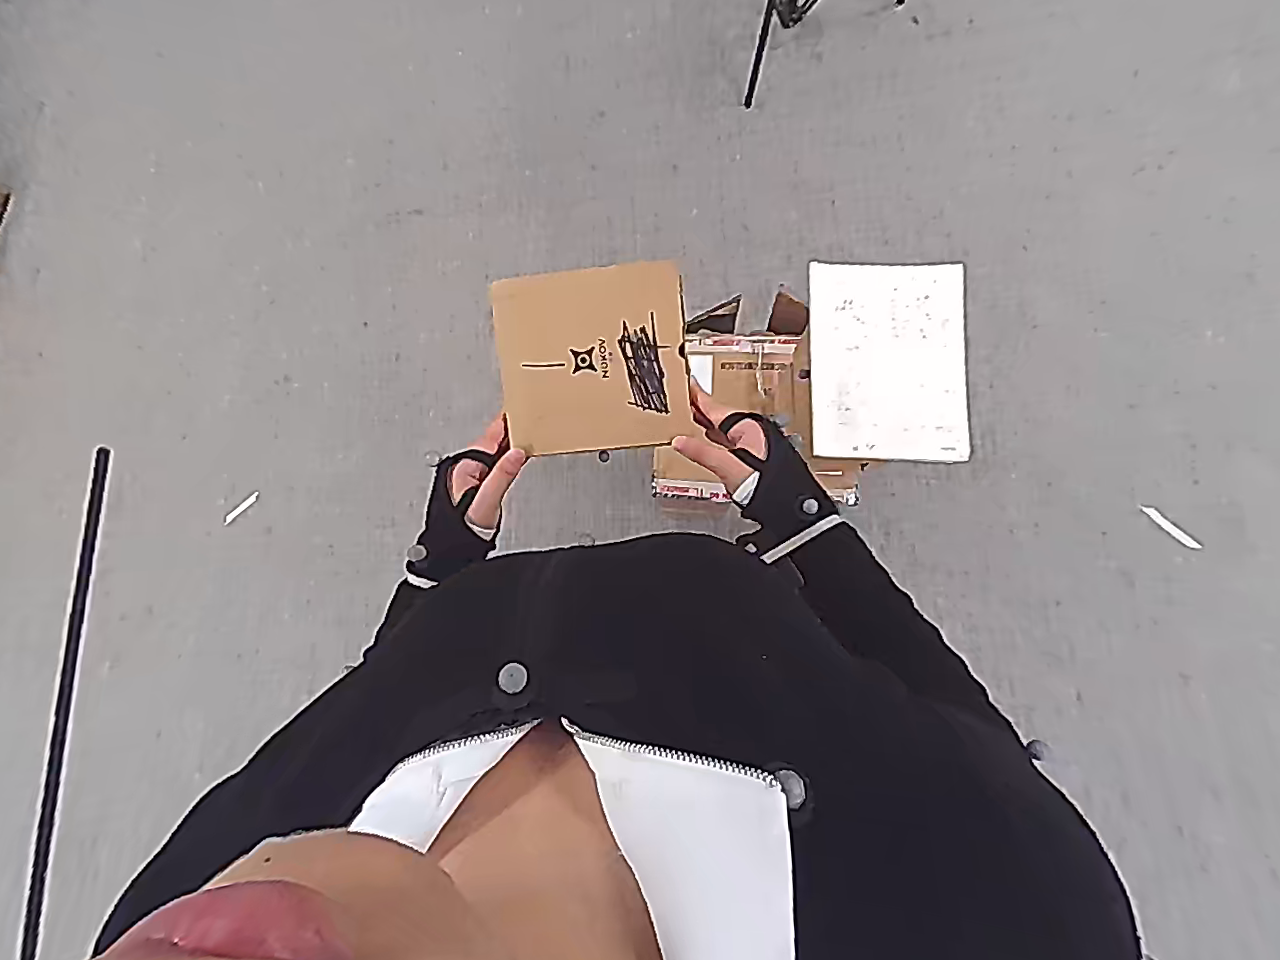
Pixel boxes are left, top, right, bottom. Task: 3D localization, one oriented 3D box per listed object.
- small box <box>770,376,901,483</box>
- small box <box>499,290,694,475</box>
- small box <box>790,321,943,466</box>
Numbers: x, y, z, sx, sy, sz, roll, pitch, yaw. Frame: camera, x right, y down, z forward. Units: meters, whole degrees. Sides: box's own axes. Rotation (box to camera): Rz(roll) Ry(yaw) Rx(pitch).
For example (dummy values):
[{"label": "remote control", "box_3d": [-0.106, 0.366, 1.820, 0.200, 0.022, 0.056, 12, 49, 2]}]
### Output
[{"label": "small box", "box_3d": [0.341, -0.089, 0.974, 0.179, 0.176, 0.168, -3, 81, 4]}, {"label": "small box", "box_3d": [-0.037, -0.101, 0.594, 0.179, 0.176, 0.168, -5, 96, 4]}, {"label": "small box", "box_3d": [0.327, -0.122, 0.815, 0.168, 0.176, 0.179, 0, 82, 4]}]
